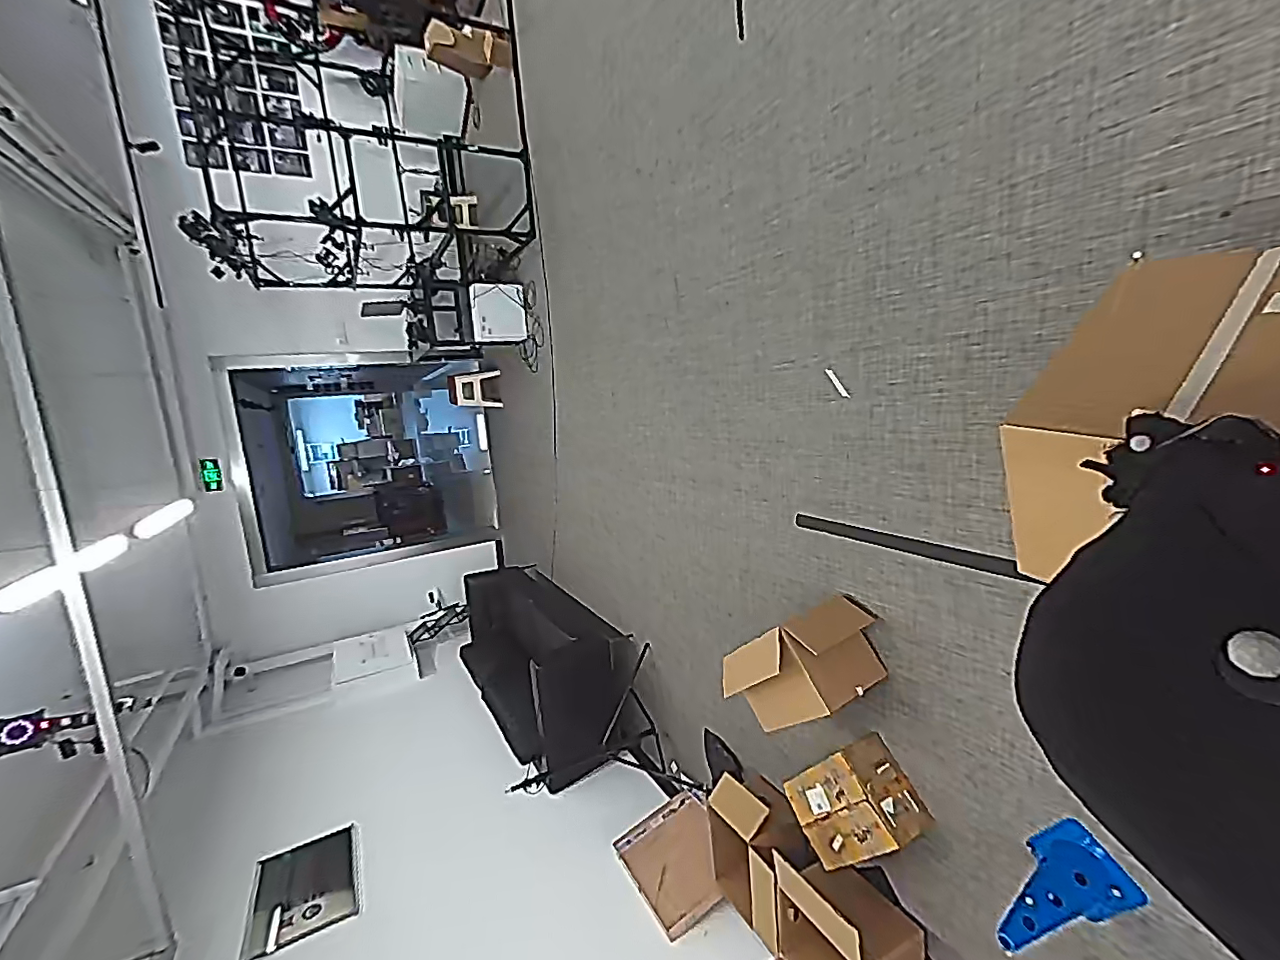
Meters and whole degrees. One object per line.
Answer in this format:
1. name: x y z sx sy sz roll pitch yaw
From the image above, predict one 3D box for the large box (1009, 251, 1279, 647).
1. large box: 0.762 -0.057 0.721 0.320 0.408 0.320 22 149 52
